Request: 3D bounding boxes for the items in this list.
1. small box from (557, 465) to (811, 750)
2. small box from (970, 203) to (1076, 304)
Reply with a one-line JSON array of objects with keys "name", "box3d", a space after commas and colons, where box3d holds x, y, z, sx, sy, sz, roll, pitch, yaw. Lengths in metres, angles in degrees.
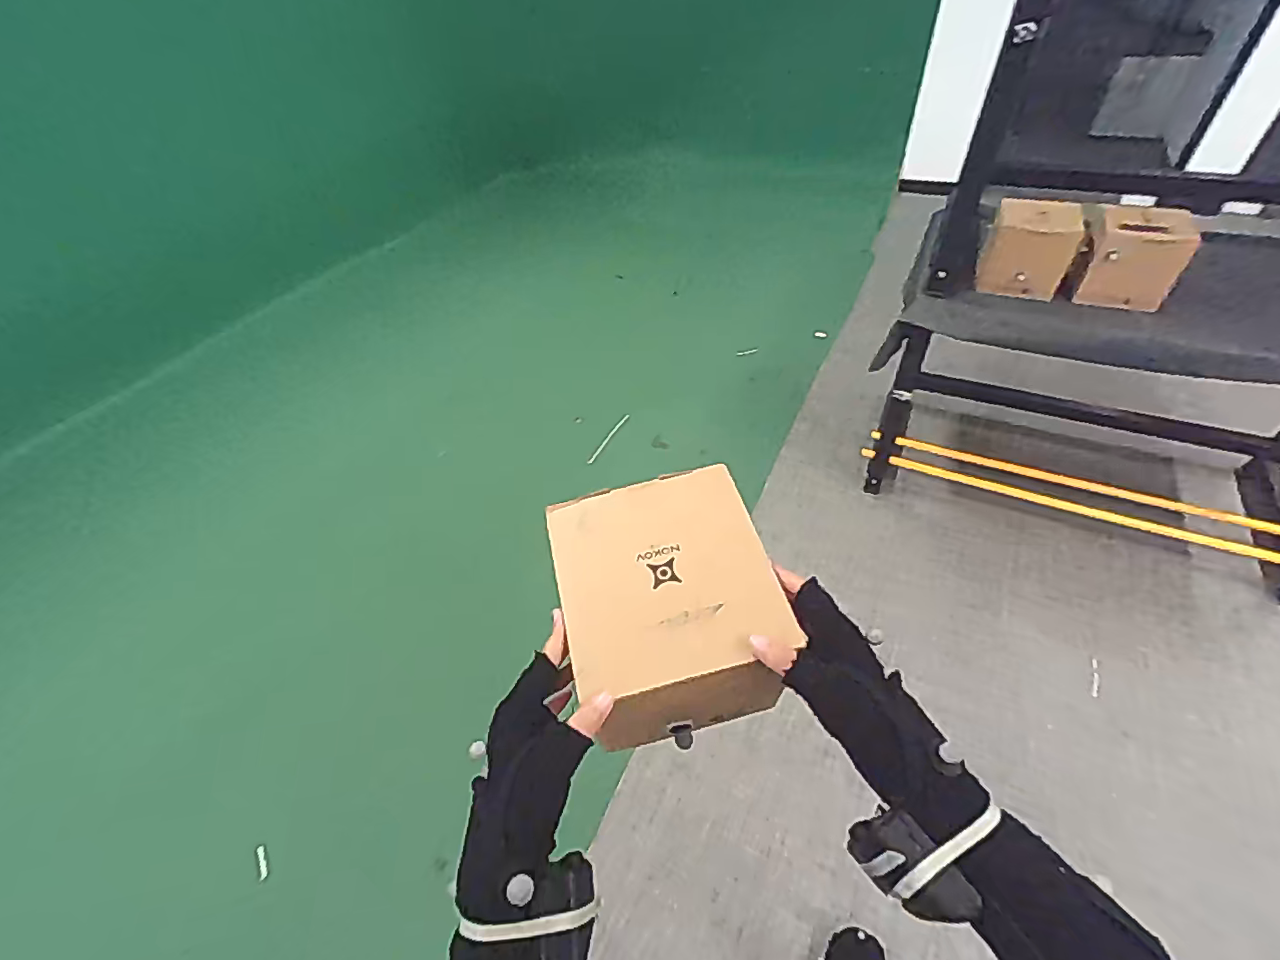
[{"name": "small box", "box3d": [0.028, 0.117, 0.488, 0.168, 0.176, 0.179, -13, 53, -5]}, {"name": "small box", "box3d": [0.942, -0.563, 1.342, 0.168, 0.176, 0.179, 16, 50, 20]}]
